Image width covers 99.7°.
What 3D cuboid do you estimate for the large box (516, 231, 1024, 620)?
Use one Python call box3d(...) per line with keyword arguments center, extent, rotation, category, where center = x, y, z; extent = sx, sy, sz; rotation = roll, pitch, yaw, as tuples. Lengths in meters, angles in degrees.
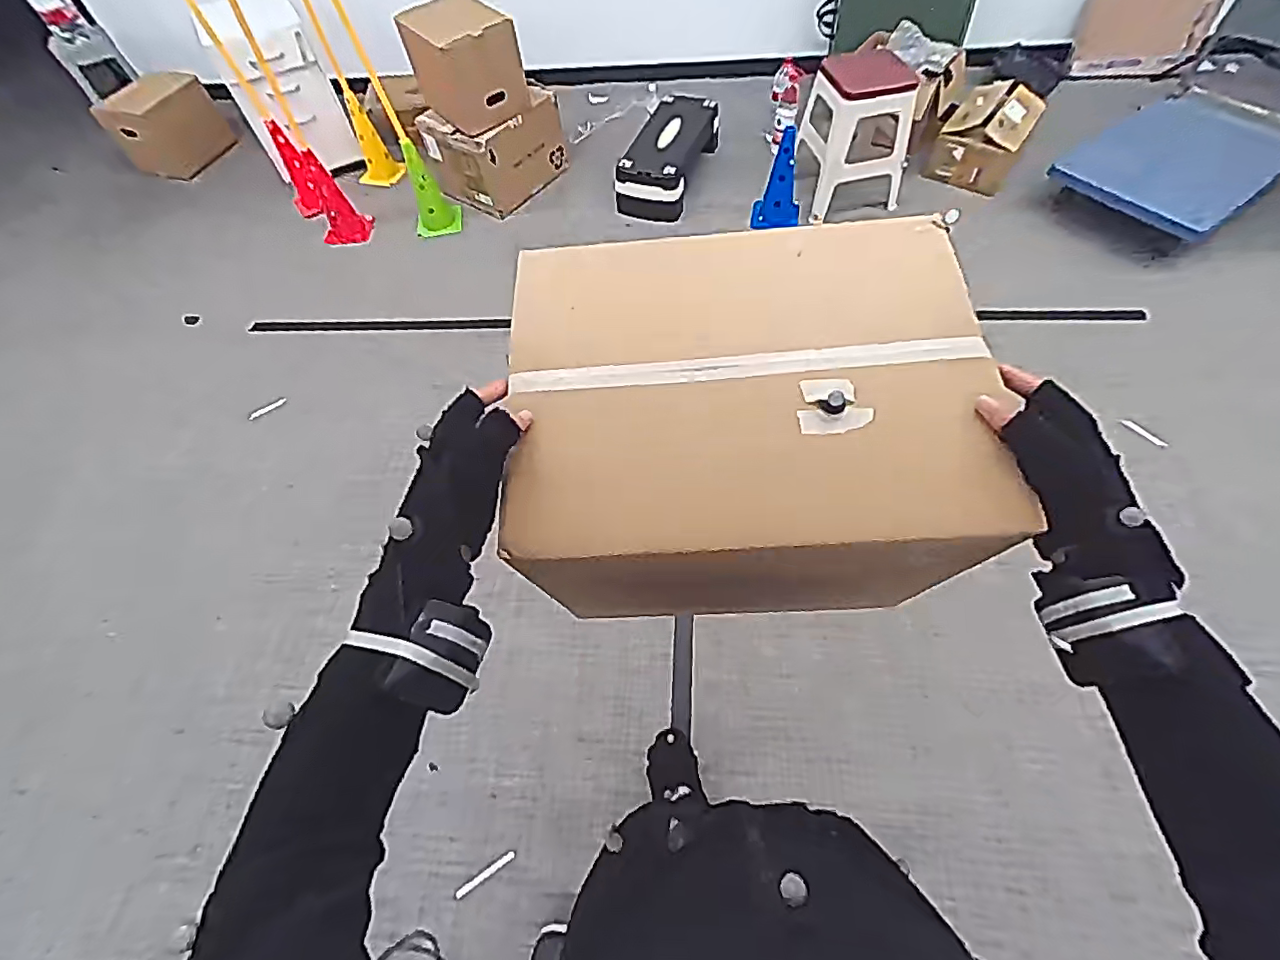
box3d(center=(0.098, -0.032, 0.614), extent=(0.408, 0.320, 0.320), rotation=(-4, 67, 3), category="large box")
